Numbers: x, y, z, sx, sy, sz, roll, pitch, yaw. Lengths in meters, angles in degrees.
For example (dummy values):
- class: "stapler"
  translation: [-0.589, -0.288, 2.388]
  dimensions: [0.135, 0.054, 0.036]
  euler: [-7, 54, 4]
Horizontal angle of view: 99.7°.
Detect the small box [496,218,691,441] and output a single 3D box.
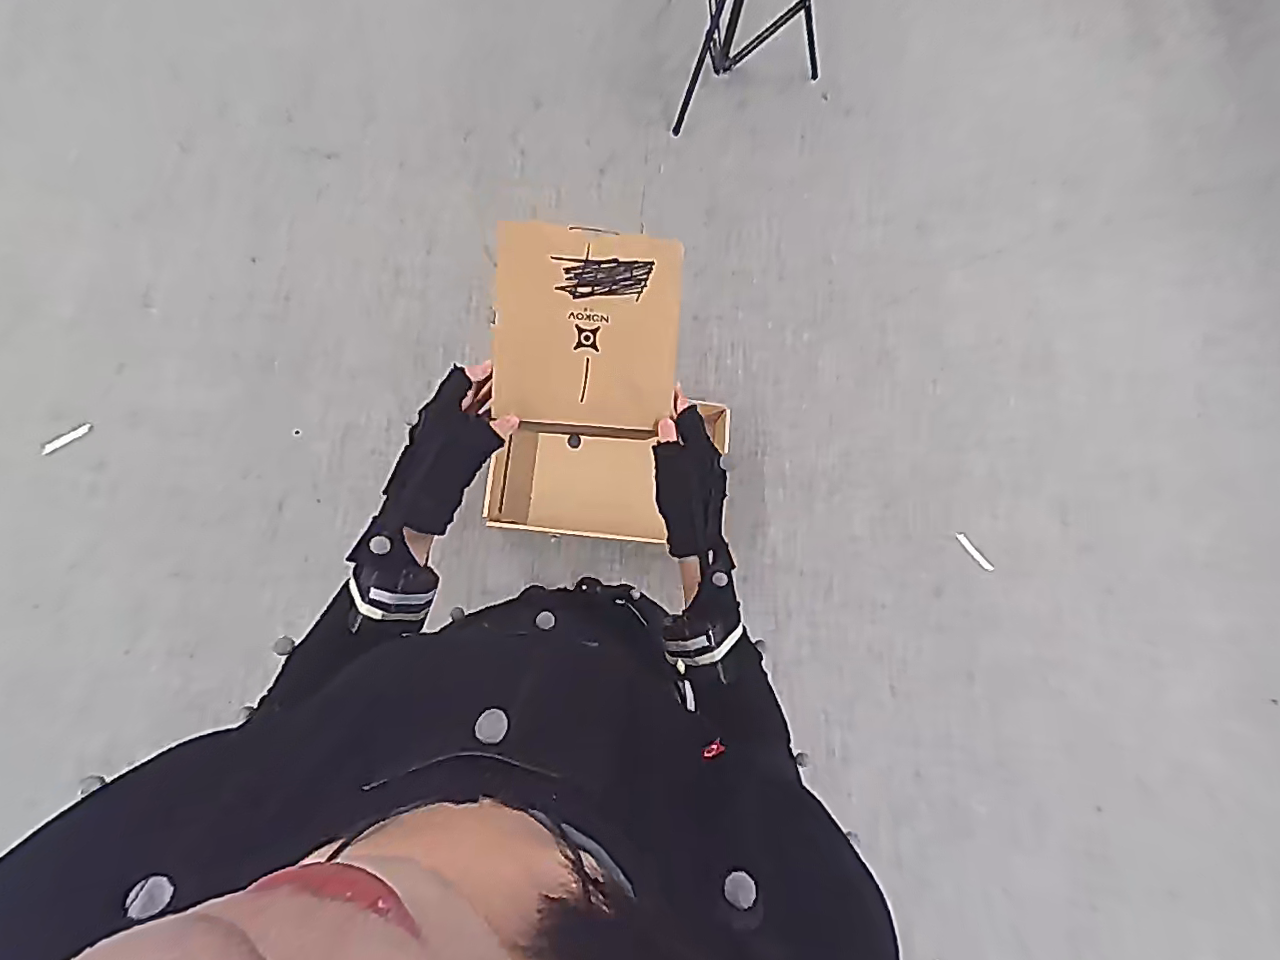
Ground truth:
- class: "small box"
  translation: [-0.050, -0.137, 0.558]
  dimensions: [0.168, 0.176, 0.179]
  euler: [4, 91, -7]
